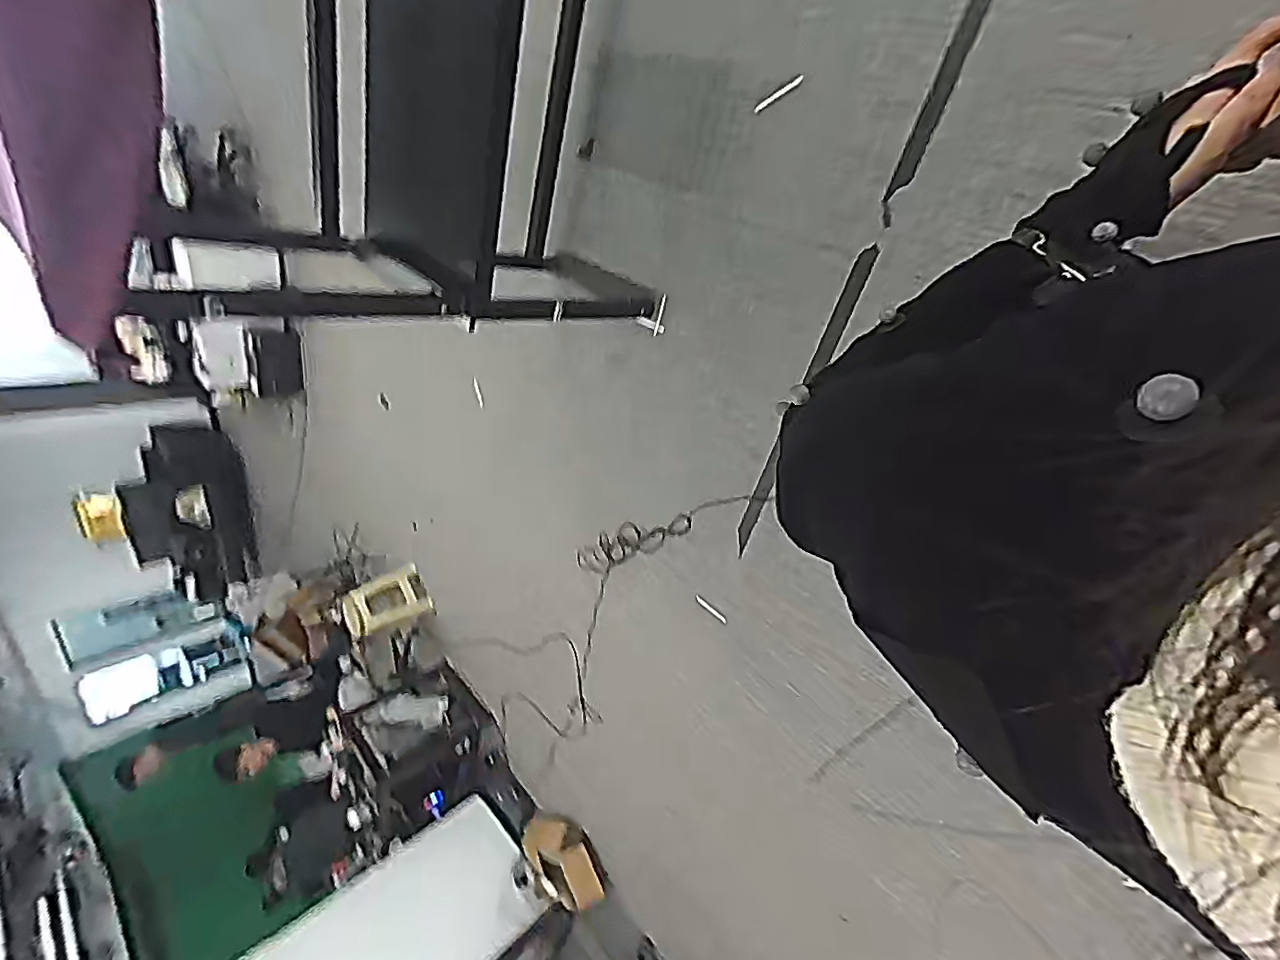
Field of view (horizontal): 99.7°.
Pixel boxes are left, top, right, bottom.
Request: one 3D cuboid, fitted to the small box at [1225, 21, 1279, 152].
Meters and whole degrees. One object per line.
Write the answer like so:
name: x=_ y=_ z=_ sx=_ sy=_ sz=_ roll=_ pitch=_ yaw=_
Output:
small box: x=0.431 y=-0.246 z=0.238 sx=0.179 sy=0.176 sz=0.168 roll=25 pitch=122 yaw=30
